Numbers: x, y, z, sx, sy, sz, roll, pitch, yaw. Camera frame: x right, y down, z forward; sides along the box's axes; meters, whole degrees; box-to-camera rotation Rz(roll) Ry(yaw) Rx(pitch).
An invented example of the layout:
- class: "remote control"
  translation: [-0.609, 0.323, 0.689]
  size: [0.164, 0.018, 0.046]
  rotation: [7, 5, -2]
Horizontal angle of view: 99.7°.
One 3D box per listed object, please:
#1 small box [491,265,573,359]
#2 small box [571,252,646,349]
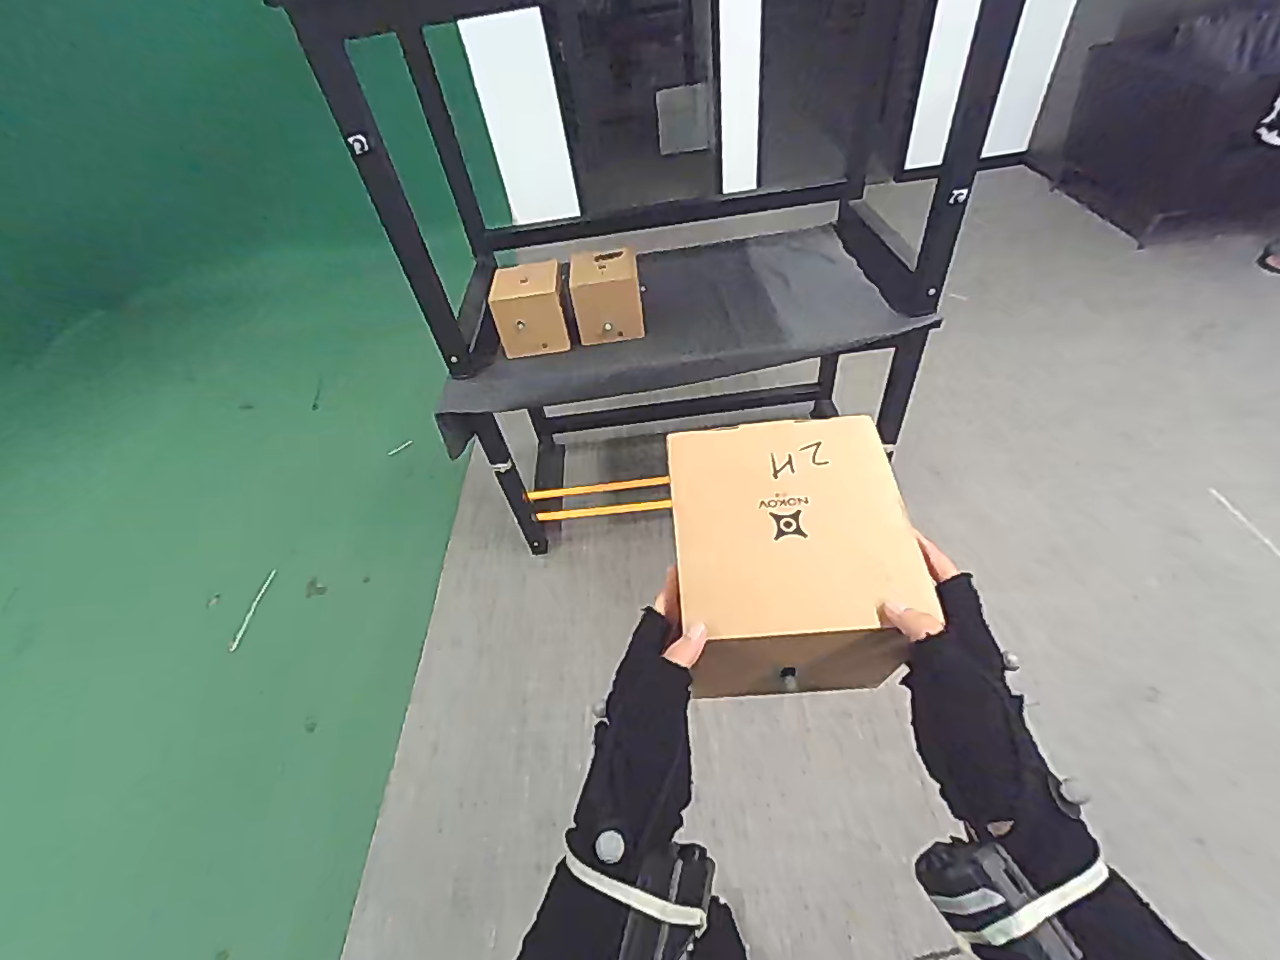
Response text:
- class: "small box"
  translation: [-0.271, -0.426, 1.396]
  size: [0.168, 0.176, 0.179]
  rotation: [-8, 45, 2]
- class: "small box"
  translation: [-0.077, -0.460, 1.394]
  size: [0.168, 0.176, 0.179]
  rotation: [-8, 46, 4]
